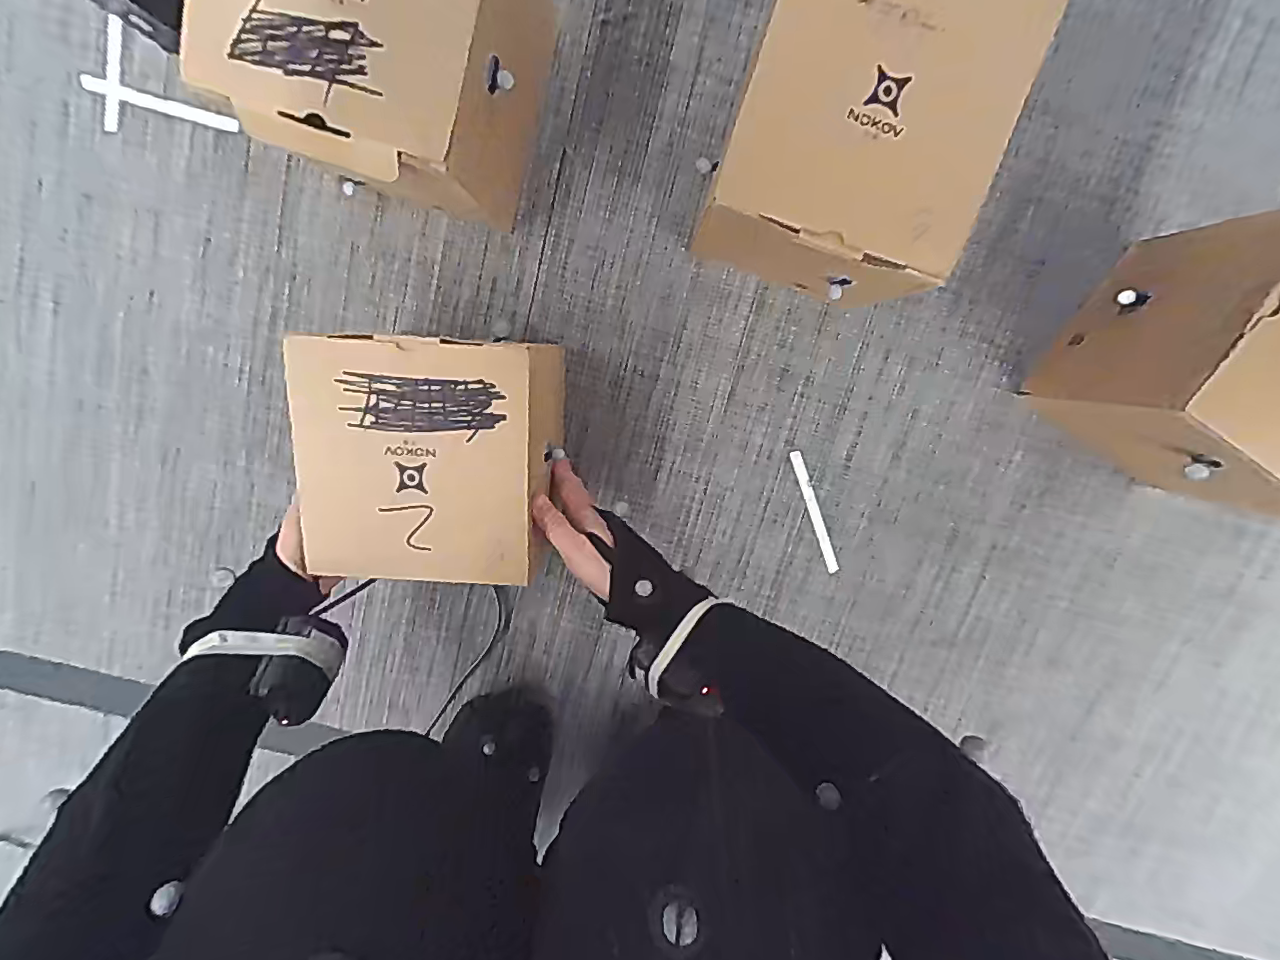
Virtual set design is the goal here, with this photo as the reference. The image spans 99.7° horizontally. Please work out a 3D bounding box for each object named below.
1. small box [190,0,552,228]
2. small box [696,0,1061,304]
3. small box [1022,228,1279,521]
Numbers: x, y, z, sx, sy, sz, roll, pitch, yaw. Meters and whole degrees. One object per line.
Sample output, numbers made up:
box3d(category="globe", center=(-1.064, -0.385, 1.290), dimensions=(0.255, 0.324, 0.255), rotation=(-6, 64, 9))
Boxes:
box3d(category="small box", center=(-0.170, -0.308, 0.392), dimensions=(0.168, 0.176, 0.179), rotation=(16, 101, -4))
box3d(category="small box", center=(0.148, -0.246, 0.409), dimensions=(0.168, 0.176, 0.179), rotation=(17, 101, -5))
box3d(category="small box", center=(0.483, -0.087, 0.447), dimensions=(0.179, 0.176, 0.168), rotation=(32, 101, -6))
